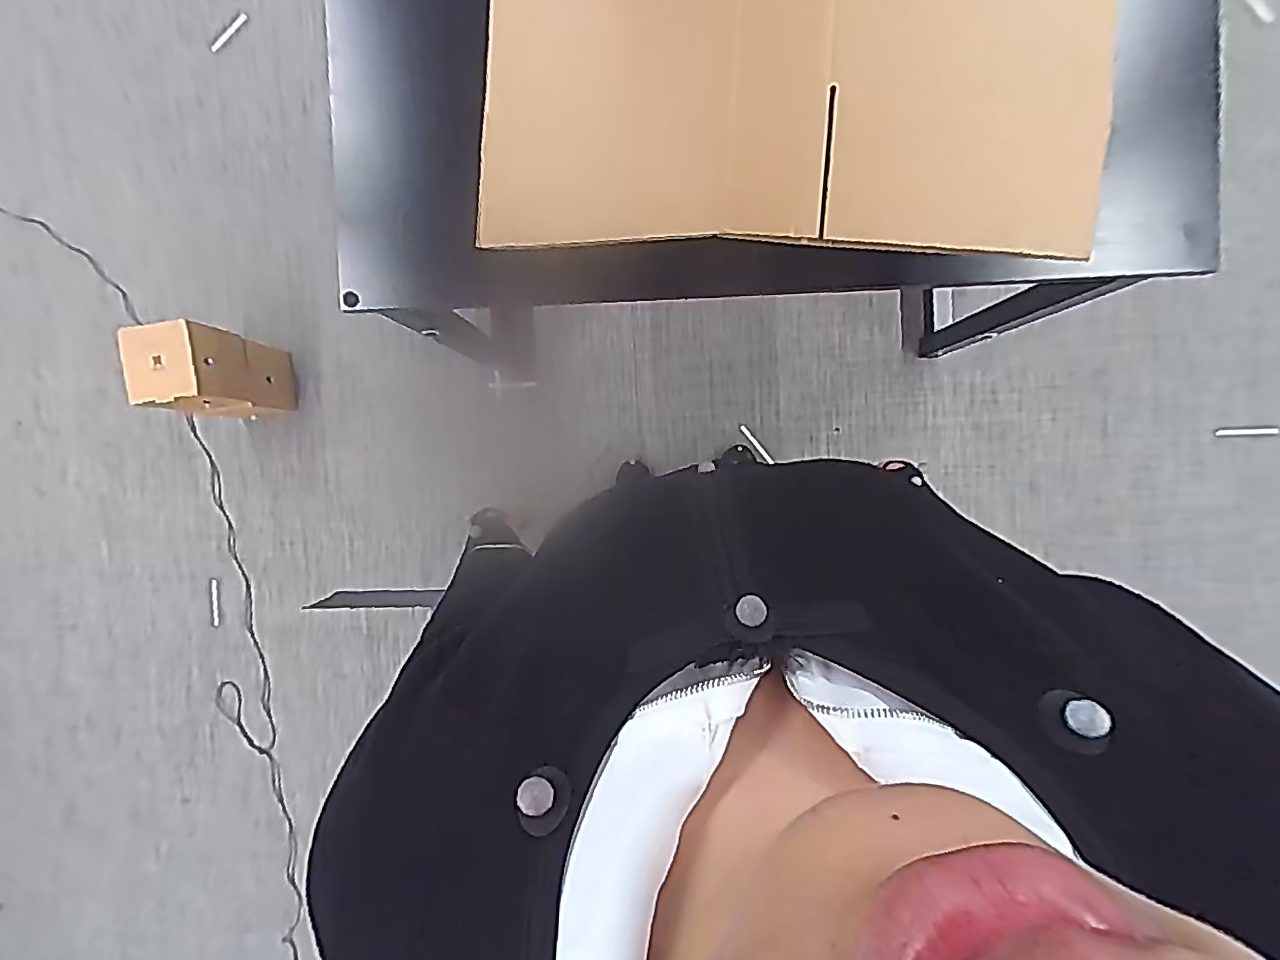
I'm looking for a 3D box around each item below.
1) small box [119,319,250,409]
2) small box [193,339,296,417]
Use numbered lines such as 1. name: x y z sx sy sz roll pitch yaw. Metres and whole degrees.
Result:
1. small box: -1.080 -0.269 1.298 0.168 0.176 0.179 -9 91 2
2. small box: -1.070 -0.270 1.460 0.168 0.176 0.179 -6 93 3
